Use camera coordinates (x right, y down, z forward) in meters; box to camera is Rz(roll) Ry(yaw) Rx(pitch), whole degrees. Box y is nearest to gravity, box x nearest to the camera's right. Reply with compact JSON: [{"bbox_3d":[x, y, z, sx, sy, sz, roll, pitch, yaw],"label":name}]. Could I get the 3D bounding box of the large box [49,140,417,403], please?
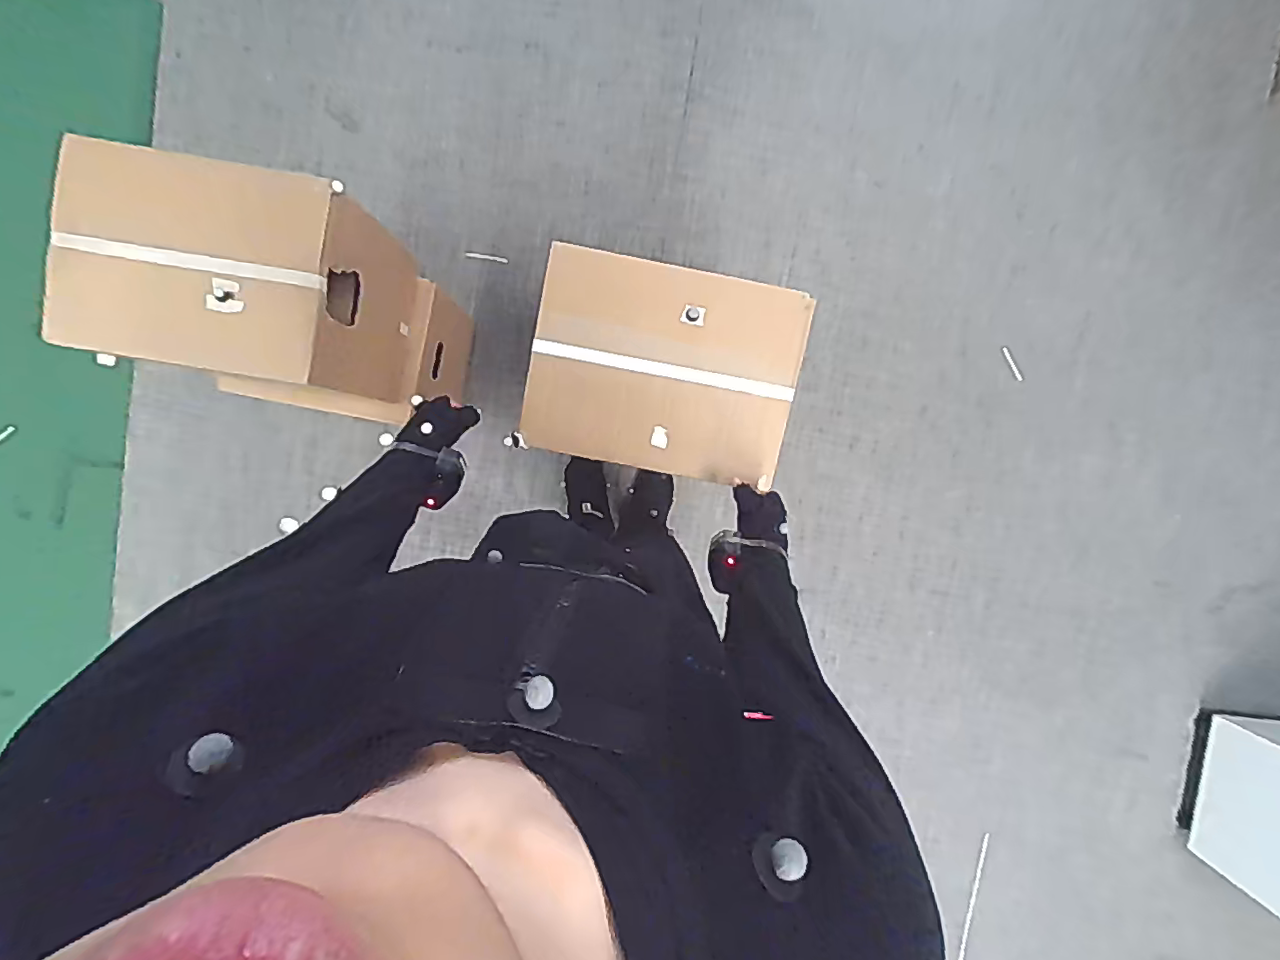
[{"bbox_3d":[-0.673,-0.334,0.963,0.408,0.320,0.320,9,92,-2],"label":"large box"}]
